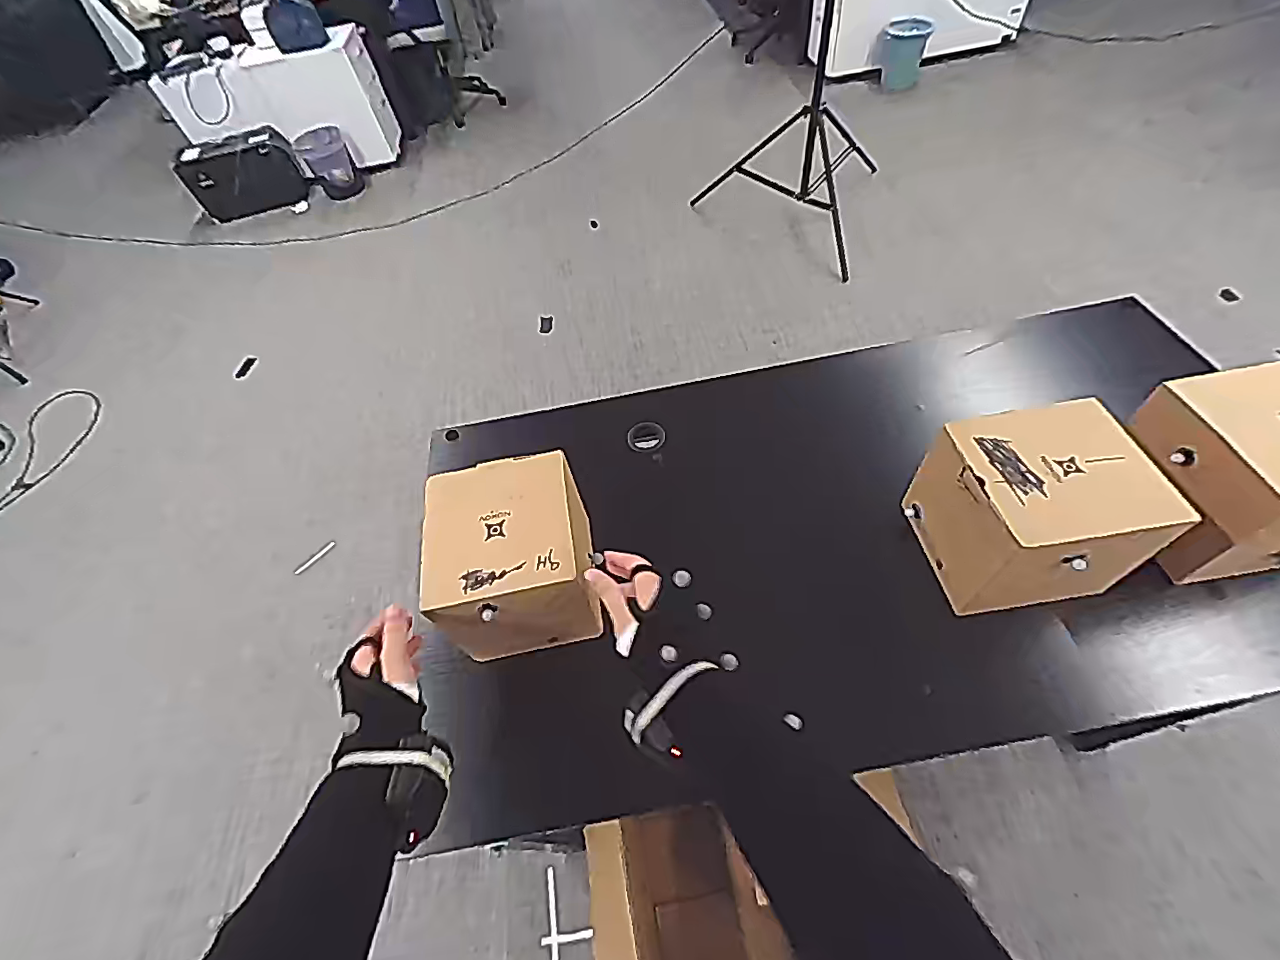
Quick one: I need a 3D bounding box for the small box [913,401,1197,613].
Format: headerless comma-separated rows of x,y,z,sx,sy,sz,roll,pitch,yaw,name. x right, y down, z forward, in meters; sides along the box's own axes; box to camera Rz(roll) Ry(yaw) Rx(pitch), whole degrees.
0.439,0.038,0.619,0.179,0.176,0.168,-9,54,1,small box

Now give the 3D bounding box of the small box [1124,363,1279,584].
0.681,-0.006,0.612,0.168,0.176,0.179,-10,53,2,small box

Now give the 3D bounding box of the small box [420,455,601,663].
-0.147,0.099,0.659,0.168,0.176,0.179,-12,53,-1,small box
